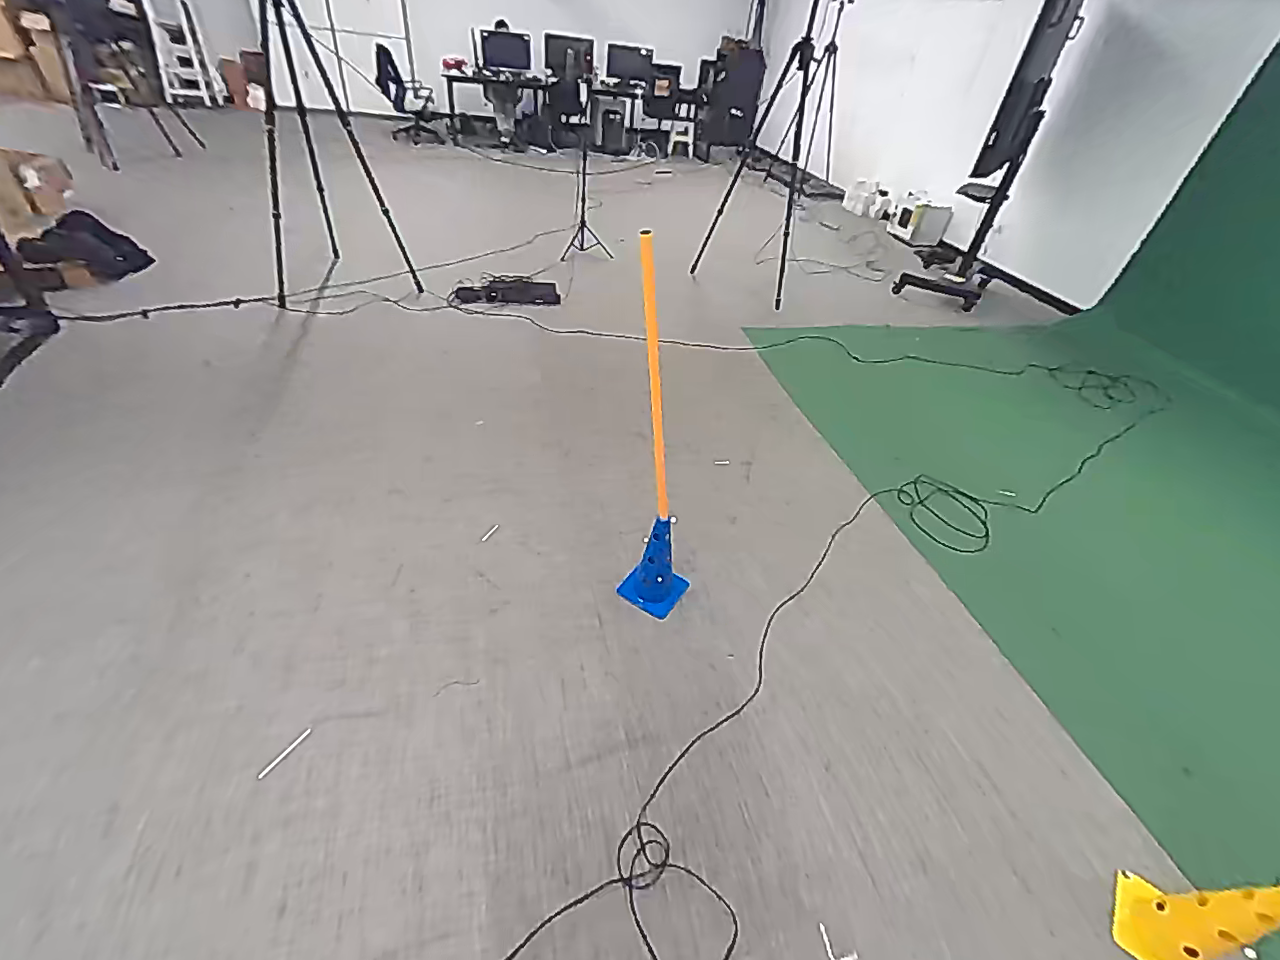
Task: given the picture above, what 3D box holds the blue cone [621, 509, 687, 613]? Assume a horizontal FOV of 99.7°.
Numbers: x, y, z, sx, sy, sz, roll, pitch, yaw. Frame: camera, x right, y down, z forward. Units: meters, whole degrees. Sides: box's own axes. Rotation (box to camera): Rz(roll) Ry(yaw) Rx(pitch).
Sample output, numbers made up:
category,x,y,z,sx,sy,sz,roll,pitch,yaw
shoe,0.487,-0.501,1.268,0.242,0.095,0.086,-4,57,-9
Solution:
category,x,y,z,sx,sy,sz,roll,pitch,yaw
blue cone,0.057,0.248,1.781,0.193,0.380,0.192,24,44,21
